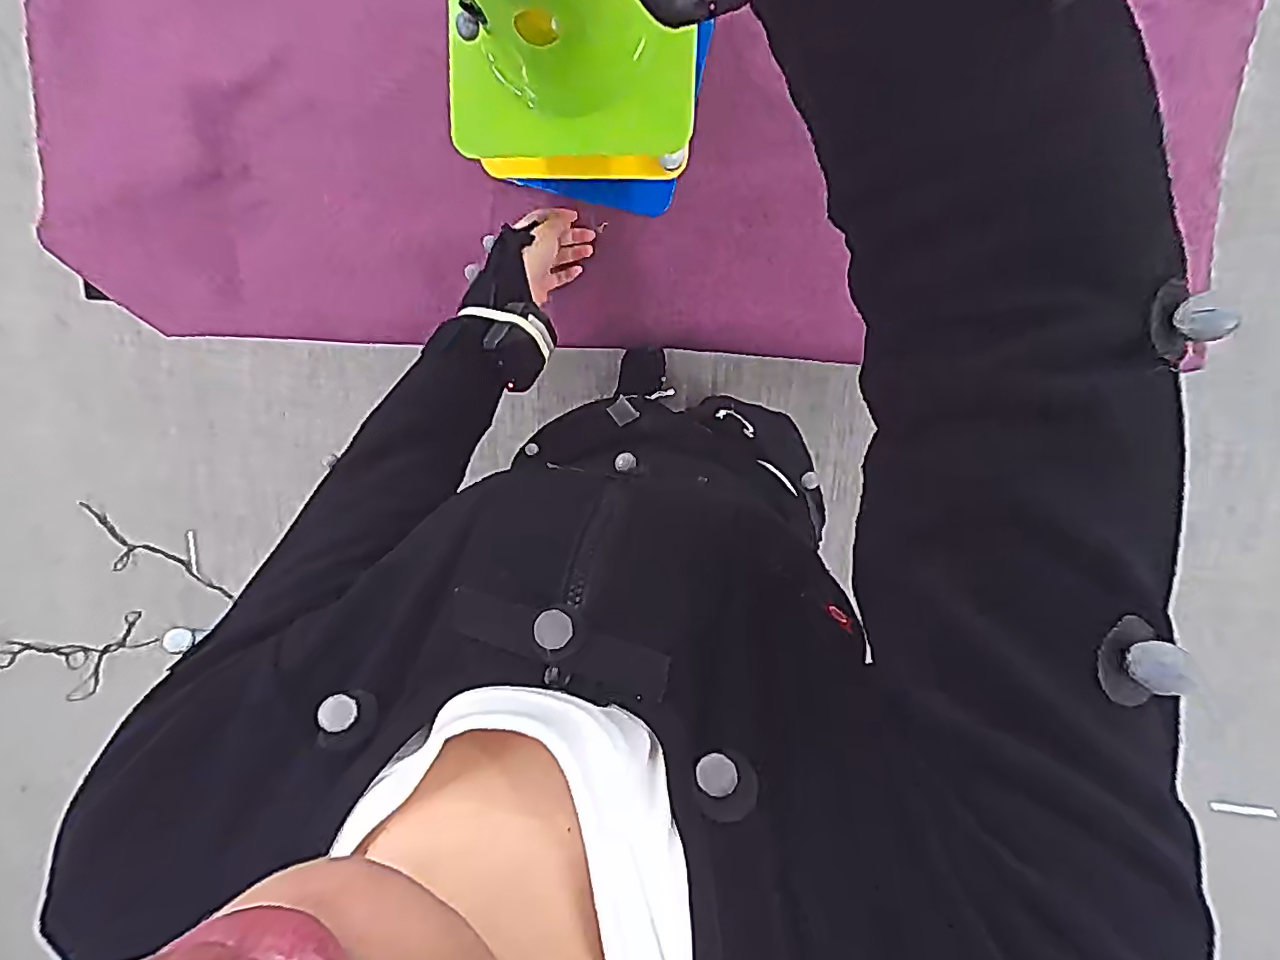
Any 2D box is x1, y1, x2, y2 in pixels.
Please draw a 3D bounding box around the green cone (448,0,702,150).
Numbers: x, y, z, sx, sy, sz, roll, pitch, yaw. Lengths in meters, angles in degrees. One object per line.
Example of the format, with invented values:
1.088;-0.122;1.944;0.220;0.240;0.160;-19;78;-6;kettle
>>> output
-0.075;-0.336;0.247;0.200;0.368;0.202;2;100;7;green cone
